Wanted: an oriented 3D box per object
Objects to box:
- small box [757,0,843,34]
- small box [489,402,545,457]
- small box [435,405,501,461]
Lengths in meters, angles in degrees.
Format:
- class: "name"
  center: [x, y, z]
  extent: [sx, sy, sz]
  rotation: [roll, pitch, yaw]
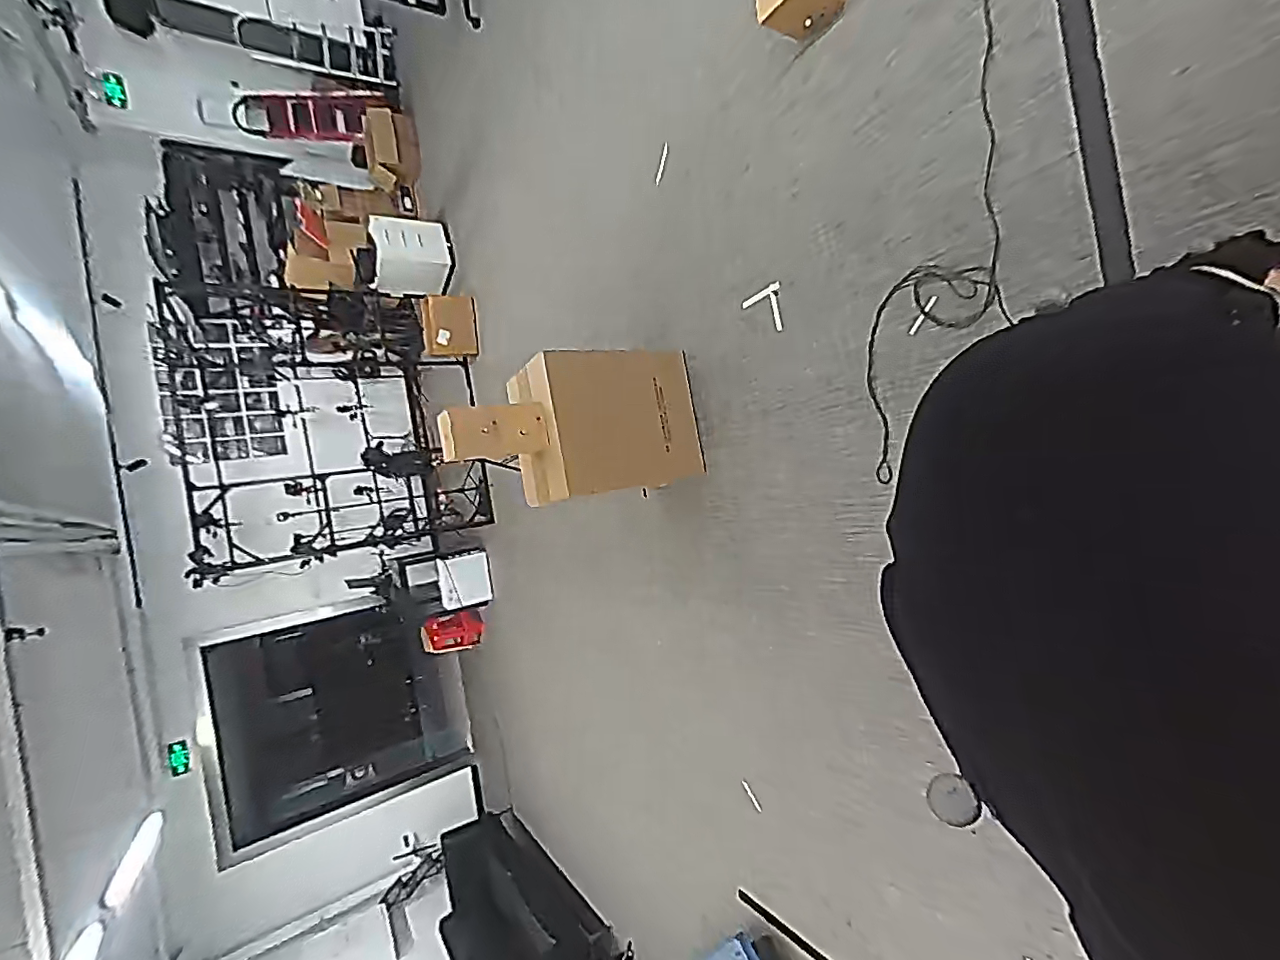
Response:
- class: "small box"
  center: [0.427, -1.350, 1.440]
  extent: [0.168, 0.176, 0.179]
  rotation: [2, 101, 58]
- class: "small box"
  center: [-0.449, -0.182, 1.938]
  extent: [0.179, 0.176, 0.168]
  rotation: [-10, 89, 58]
- class: "small box"
  center: [-0.591, -0.160, 1.856]
  extent: [0.179, 0.176, 0.168]
  rotation: [-6, 94, 58]
